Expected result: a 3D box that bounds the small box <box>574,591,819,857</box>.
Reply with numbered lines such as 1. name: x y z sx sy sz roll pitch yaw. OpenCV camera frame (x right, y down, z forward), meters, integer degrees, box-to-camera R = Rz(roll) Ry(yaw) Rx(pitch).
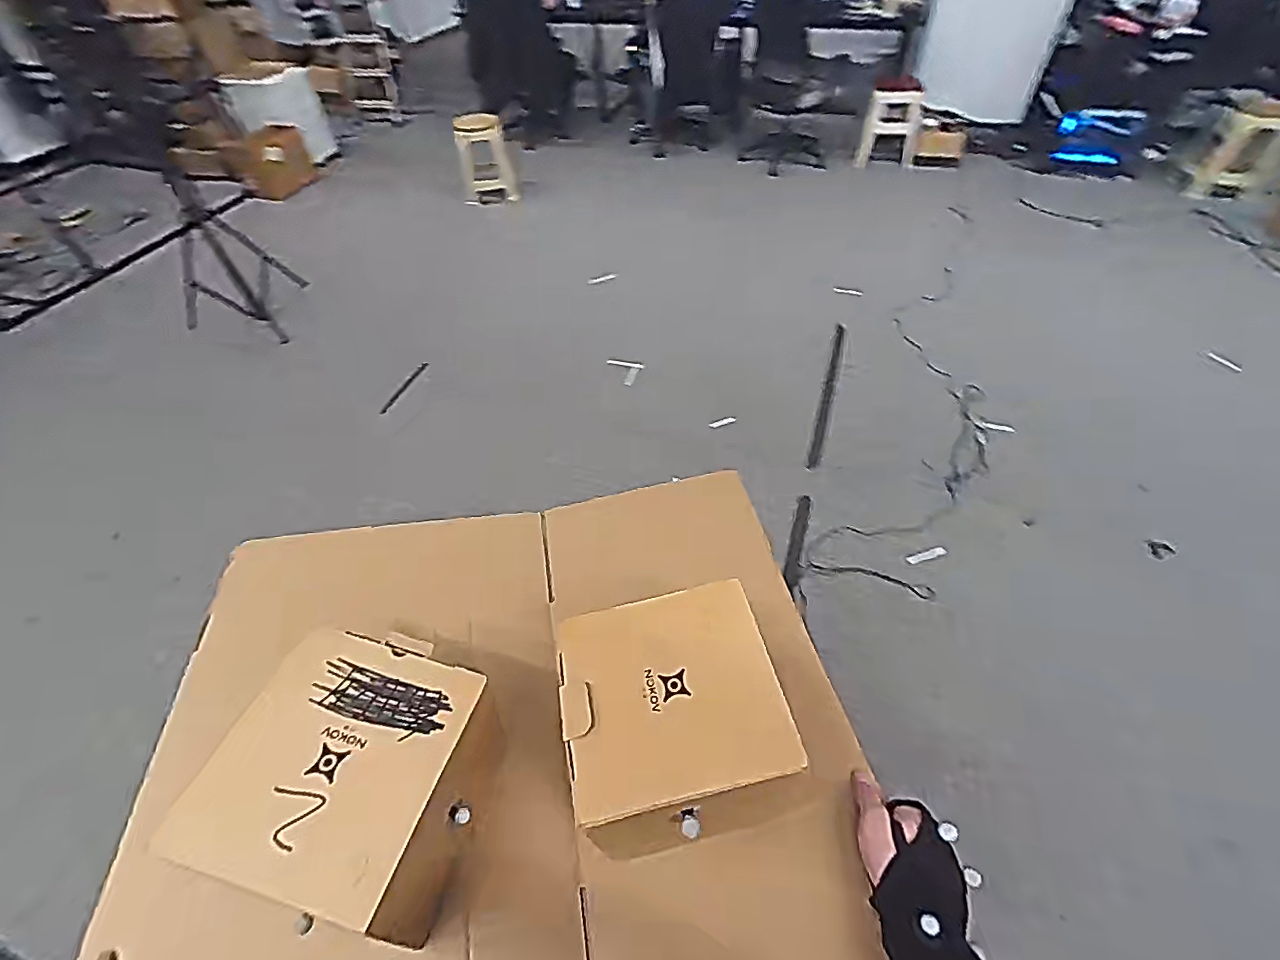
1. small box: 0.045 0.233 0.512 0.179 0.176 0.168 -13 47 -2
